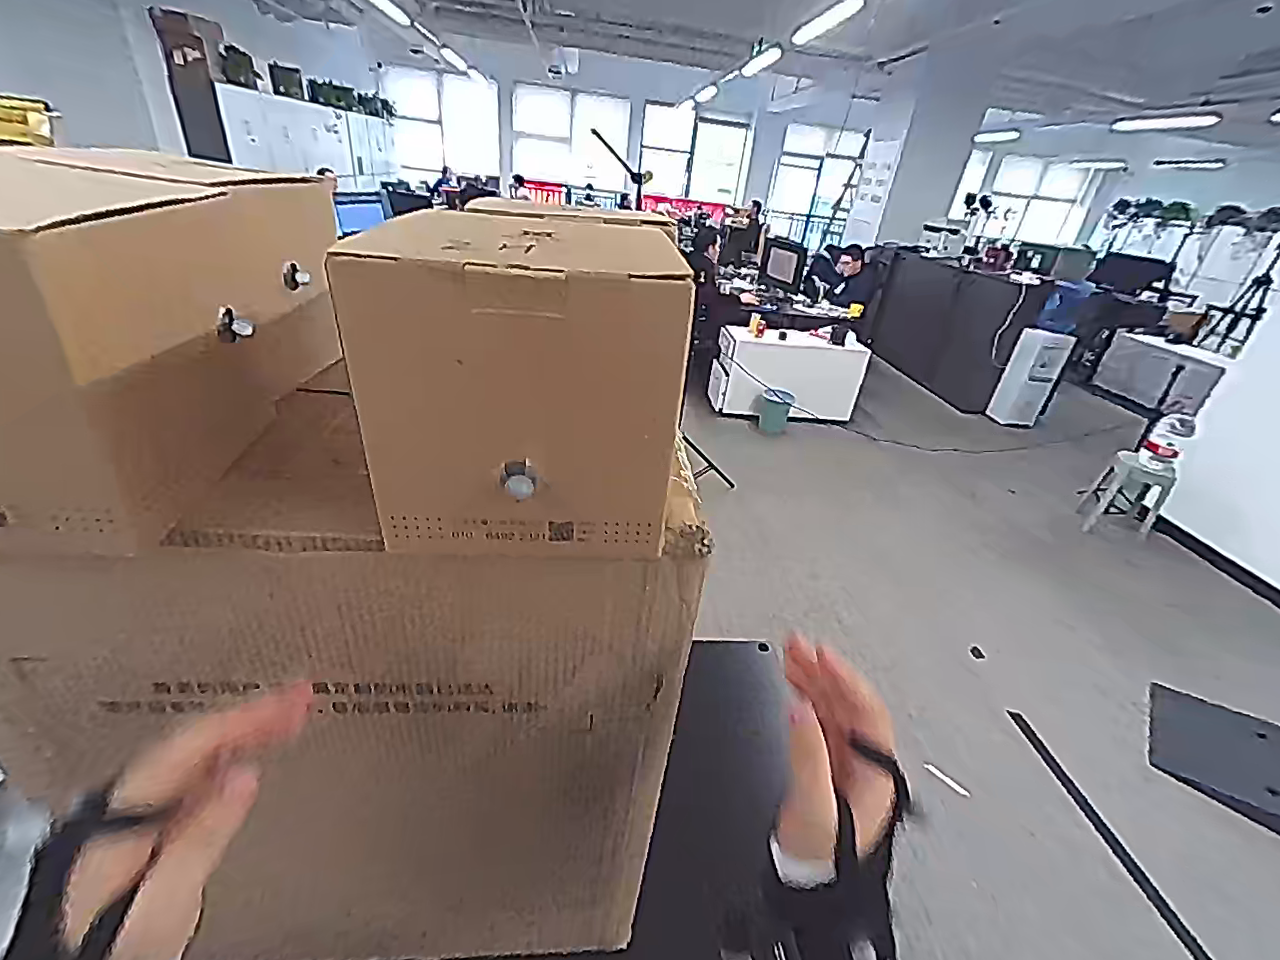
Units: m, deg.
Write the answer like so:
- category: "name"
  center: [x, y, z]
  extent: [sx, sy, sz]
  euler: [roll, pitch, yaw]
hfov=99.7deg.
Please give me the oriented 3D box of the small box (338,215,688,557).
- category: "small box"
  center: [-0.068, -0.069, 0.362]
  extent: [0.168, 0.176, 0.179]
  euler: [1, 32, -5]
